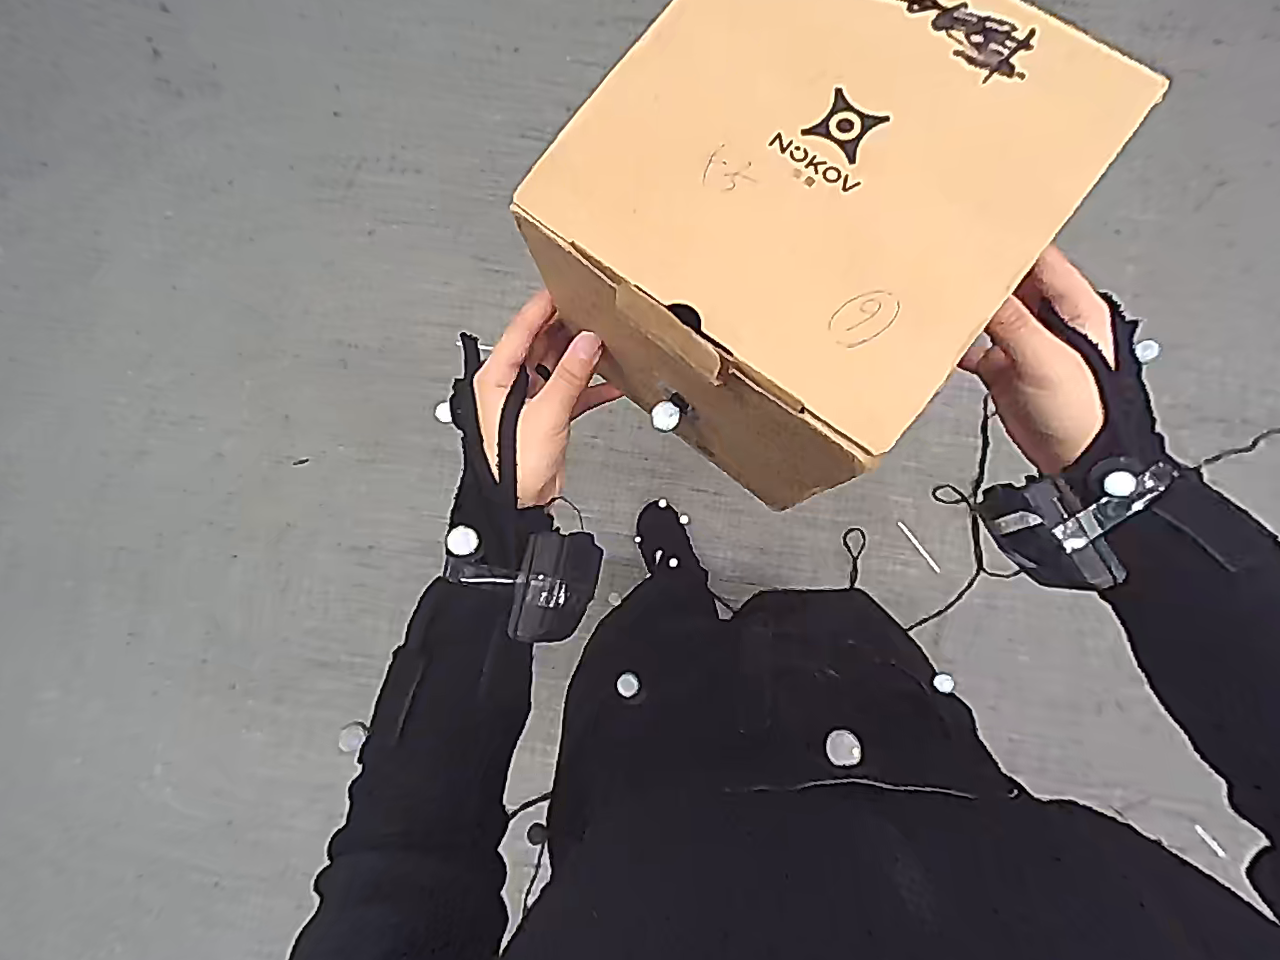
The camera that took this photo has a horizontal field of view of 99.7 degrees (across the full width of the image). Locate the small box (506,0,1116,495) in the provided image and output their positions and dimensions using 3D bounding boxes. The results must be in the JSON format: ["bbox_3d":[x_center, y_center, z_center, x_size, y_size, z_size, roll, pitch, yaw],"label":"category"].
[{"bbox_3d":[0.068,-0.108,0.285,0.168,0.176,0.179,38,87,8],"label":"small box"}]
